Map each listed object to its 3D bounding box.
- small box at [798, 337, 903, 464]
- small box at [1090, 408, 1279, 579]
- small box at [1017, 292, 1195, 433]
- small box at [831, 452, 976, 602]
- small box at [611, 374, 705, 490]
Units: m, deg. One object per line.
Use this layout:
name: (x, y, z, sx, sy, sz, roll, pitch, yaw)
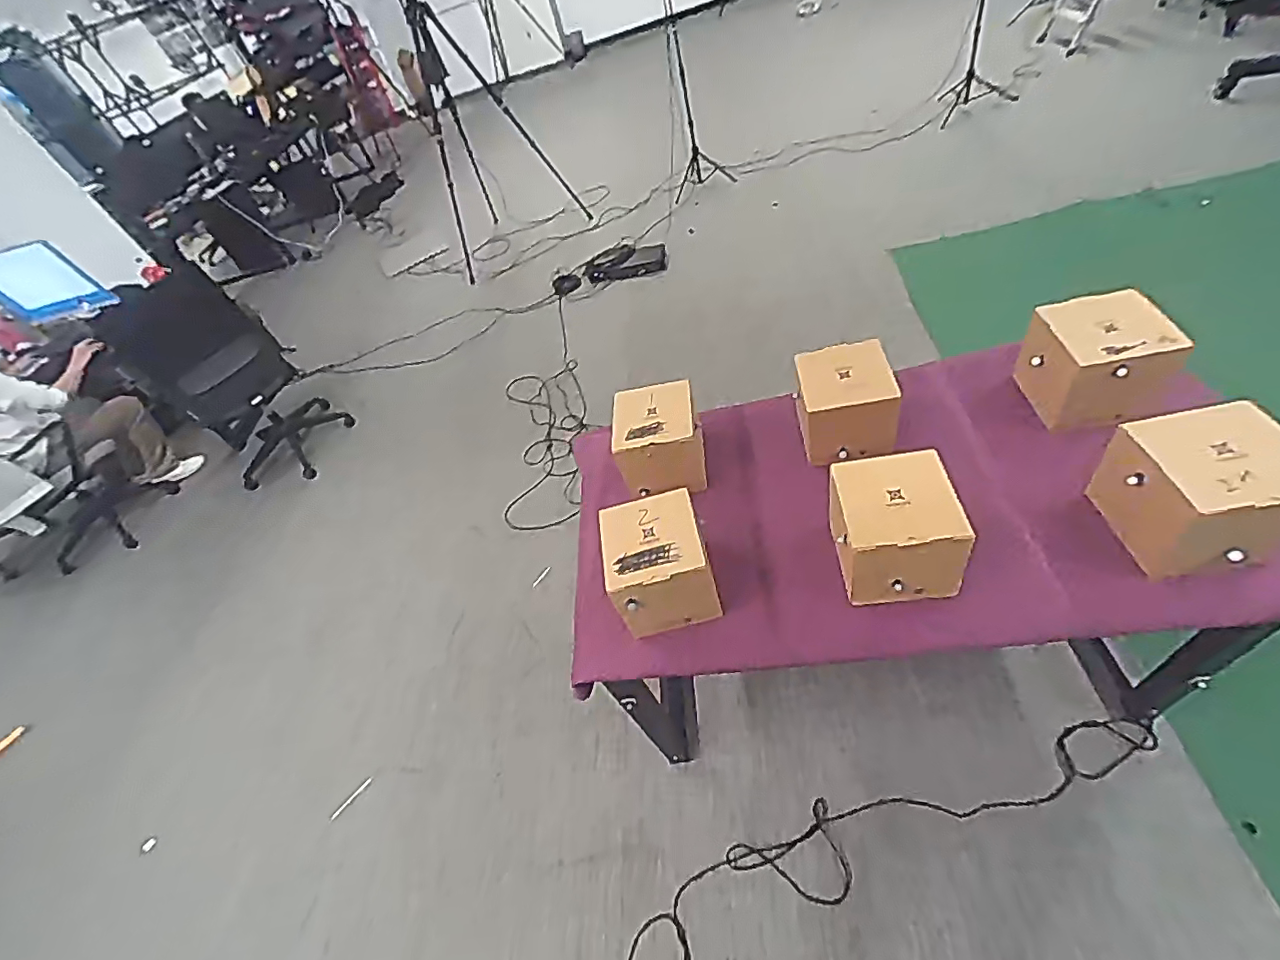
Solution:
small box: (0.411, -0.156, 1.086, 0.168, 0.176, 0.179, -7, 51, 13)
small box: (0.822, 0.024, 0.800, 0.168, 0.176, 0.179, -11, 49, 11)
small box: (0.833, -0.212, 0.995, 0.168, 0.176, 0.179, -9, 50, 12)
small box: (0.416, 0.080, 0.889, 0.168, 0.176, 0.179, -8, 49, 11)
small box: (0.043, -0.093, 1.146, 0.168, 0.176, 0.179, -8, 51, 11)
